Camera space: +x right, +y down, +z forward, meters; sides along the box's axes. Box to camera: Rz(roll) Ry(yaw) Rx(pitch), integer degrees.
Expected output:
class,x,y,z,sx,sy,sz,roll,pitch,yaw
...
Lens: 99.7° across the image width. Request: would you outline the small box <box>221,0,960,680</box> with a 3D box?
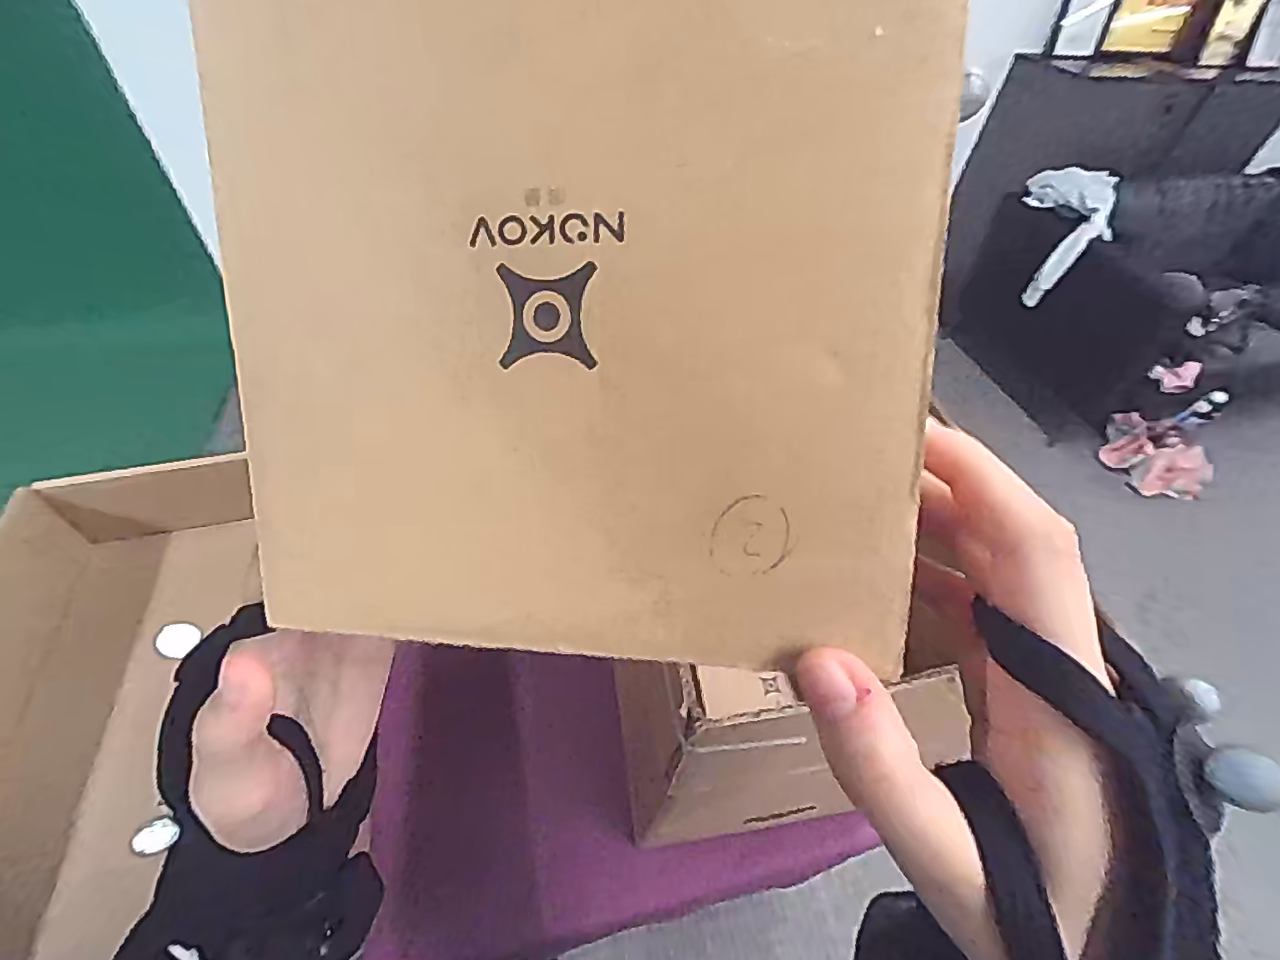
class,x,y,z,sx,sy,sz,roll,pitch,yaw
small box,-0.006,-0.054,0.206,0.168,0.179,0.176,2,10,9
